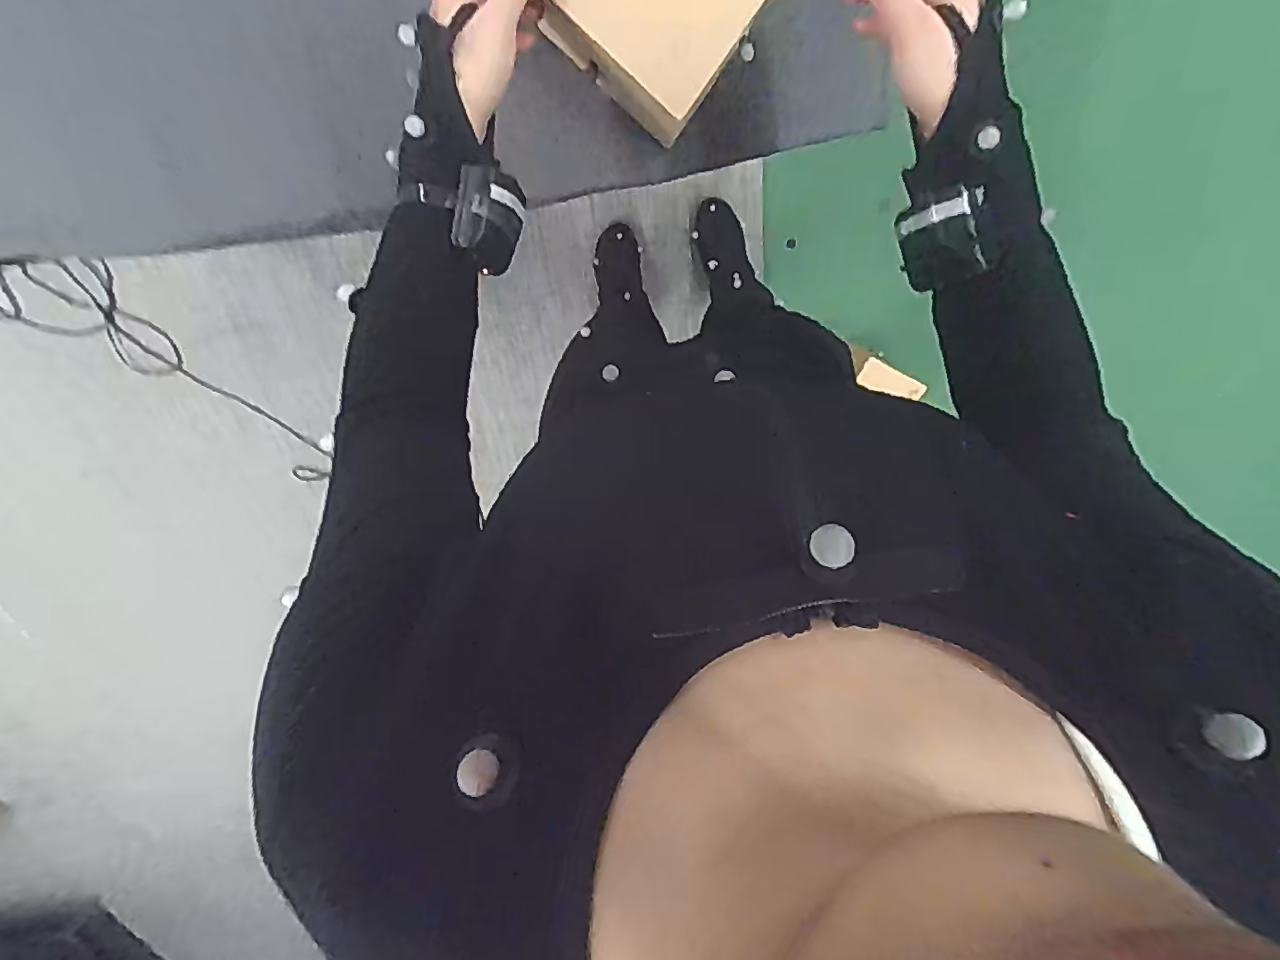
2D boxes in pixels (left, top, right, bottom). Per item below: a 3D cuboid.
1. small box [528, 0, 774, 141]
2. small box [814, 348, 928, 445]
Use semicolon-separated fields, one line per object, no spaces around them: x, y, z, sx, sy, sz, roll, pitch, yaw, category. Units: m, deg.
0.017;-0.410;0.434;0.168;0.176;0.179;36;110;-17;small box
0.574;-0.219;1.374;0.179;0.176;0.168;24;114;-13;small box
